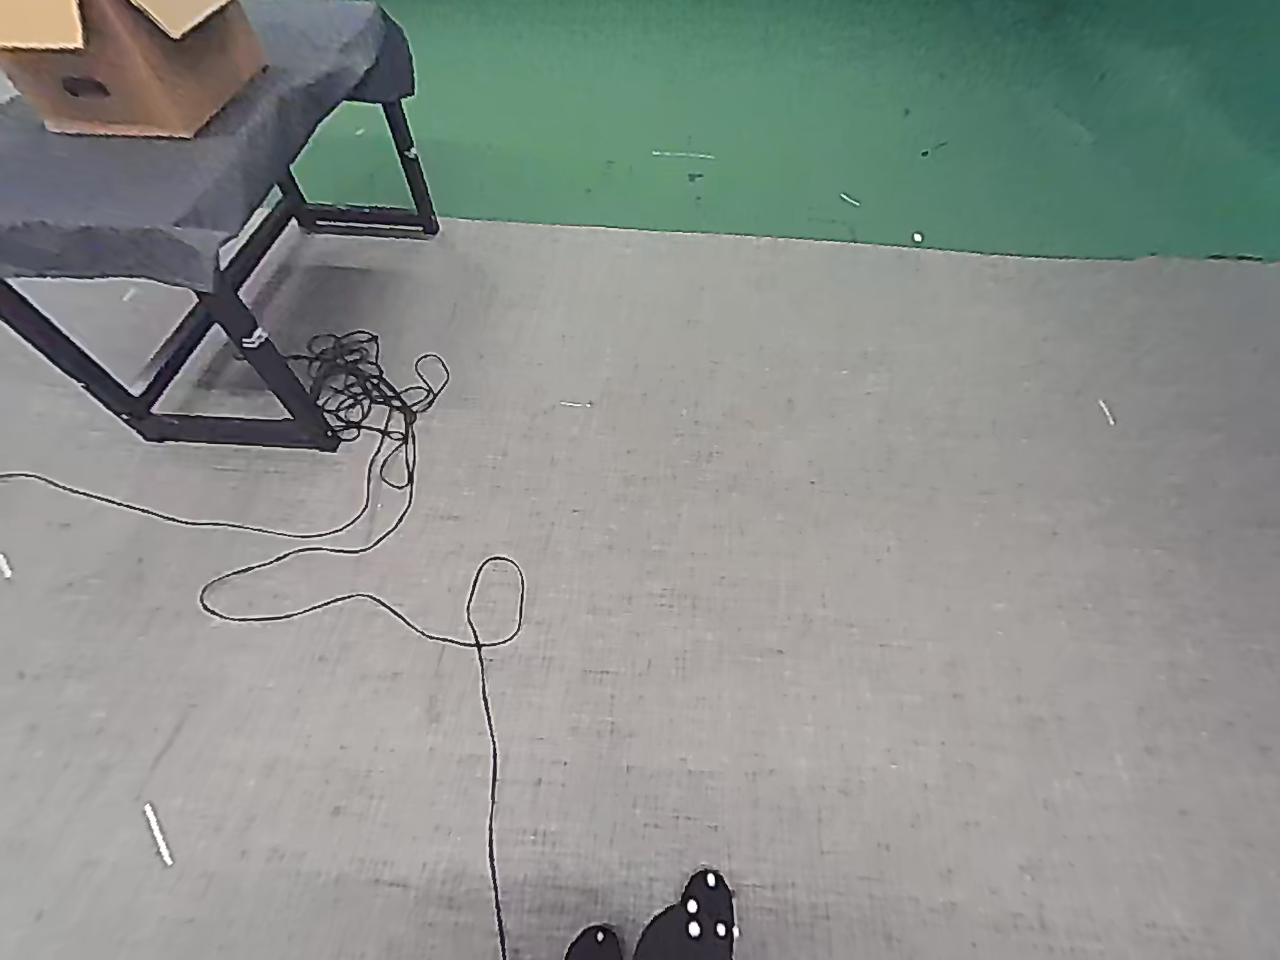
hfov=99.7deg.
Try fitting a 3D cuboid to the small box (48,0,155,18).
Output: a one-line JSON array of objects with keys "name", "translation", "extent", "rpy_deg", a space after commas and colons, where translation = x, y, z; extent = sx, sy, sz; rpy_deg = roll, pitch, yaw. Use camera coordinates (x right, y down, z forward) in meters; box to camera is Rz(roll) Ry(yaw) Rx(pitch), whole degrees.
[{"name": "small box", "translation": [-1.108, -1.057, 1.075], "extent": [0.168, 0.176, 0.179], "rpy_deg": [2, 56, 0]}]
